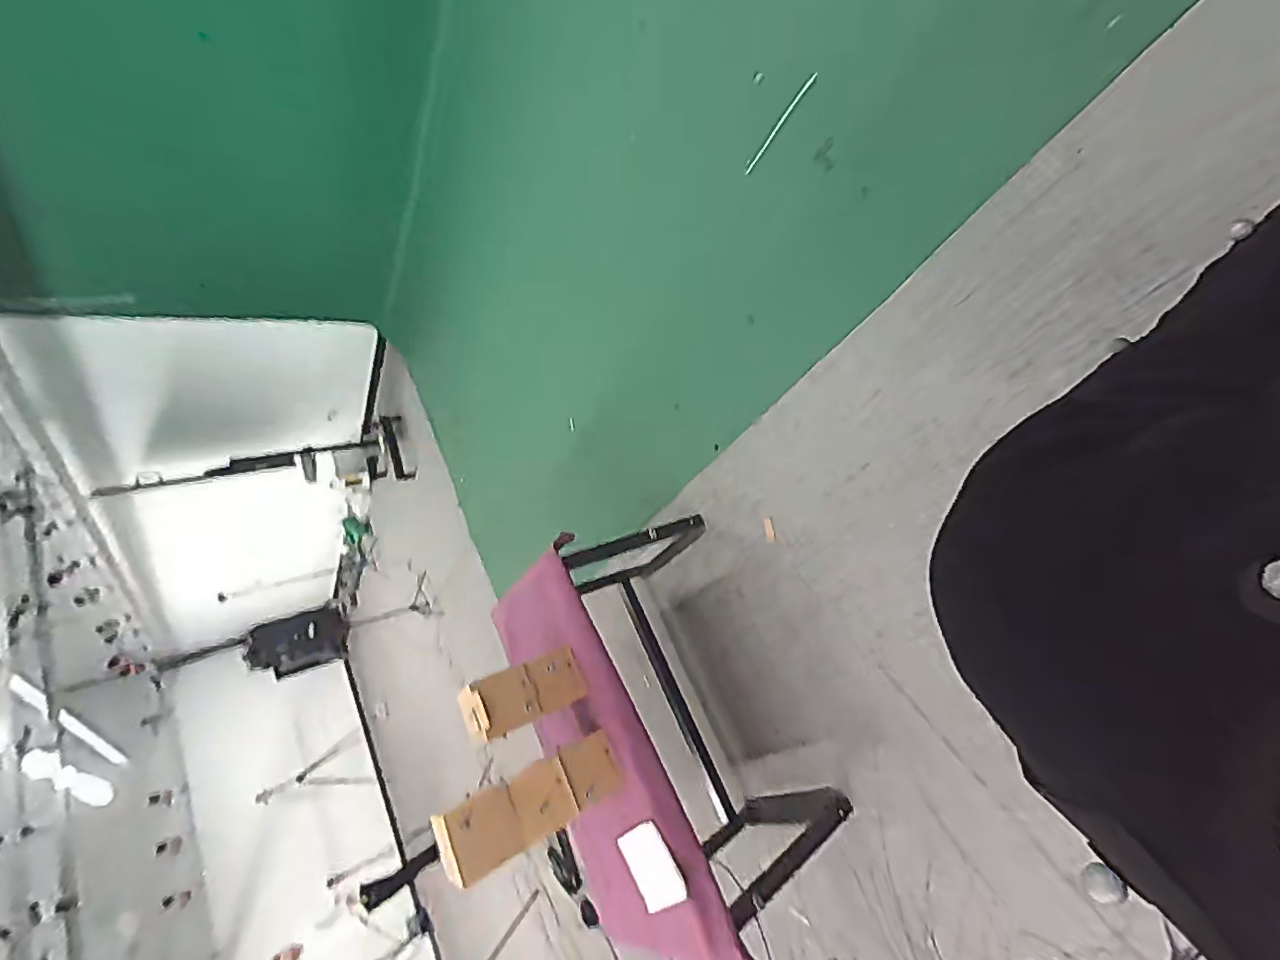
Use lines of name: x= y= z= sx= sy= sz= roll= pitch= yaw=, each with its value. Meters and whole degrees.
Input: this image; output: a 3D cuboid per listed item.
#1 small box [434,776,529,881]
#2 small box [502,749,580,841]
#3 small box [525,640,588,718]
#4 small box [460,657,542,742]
small box: x=-0.416 y=0.903 z=1.421 sx=0.168 sy=0.176 sz=0.179 roll=-43 pitch=68 yaw=49
small box: x=-0.289 y=0.883 z=1.525 sx=0.179 sy=0.176 sz=0.168 roll=-46 pitch=65 yaw=48
small box: x=-0.285 y=0.625 z=1.709 sx=0.179 sy=0.176 sz=0.168 roll=-46 pitch=64 yaw=48
small box: x=-0.411 y=0.649 z=1.607 sx=0.179 sy=0.176 sz=0.168 roll=-48 pitch=63 yaw=48
